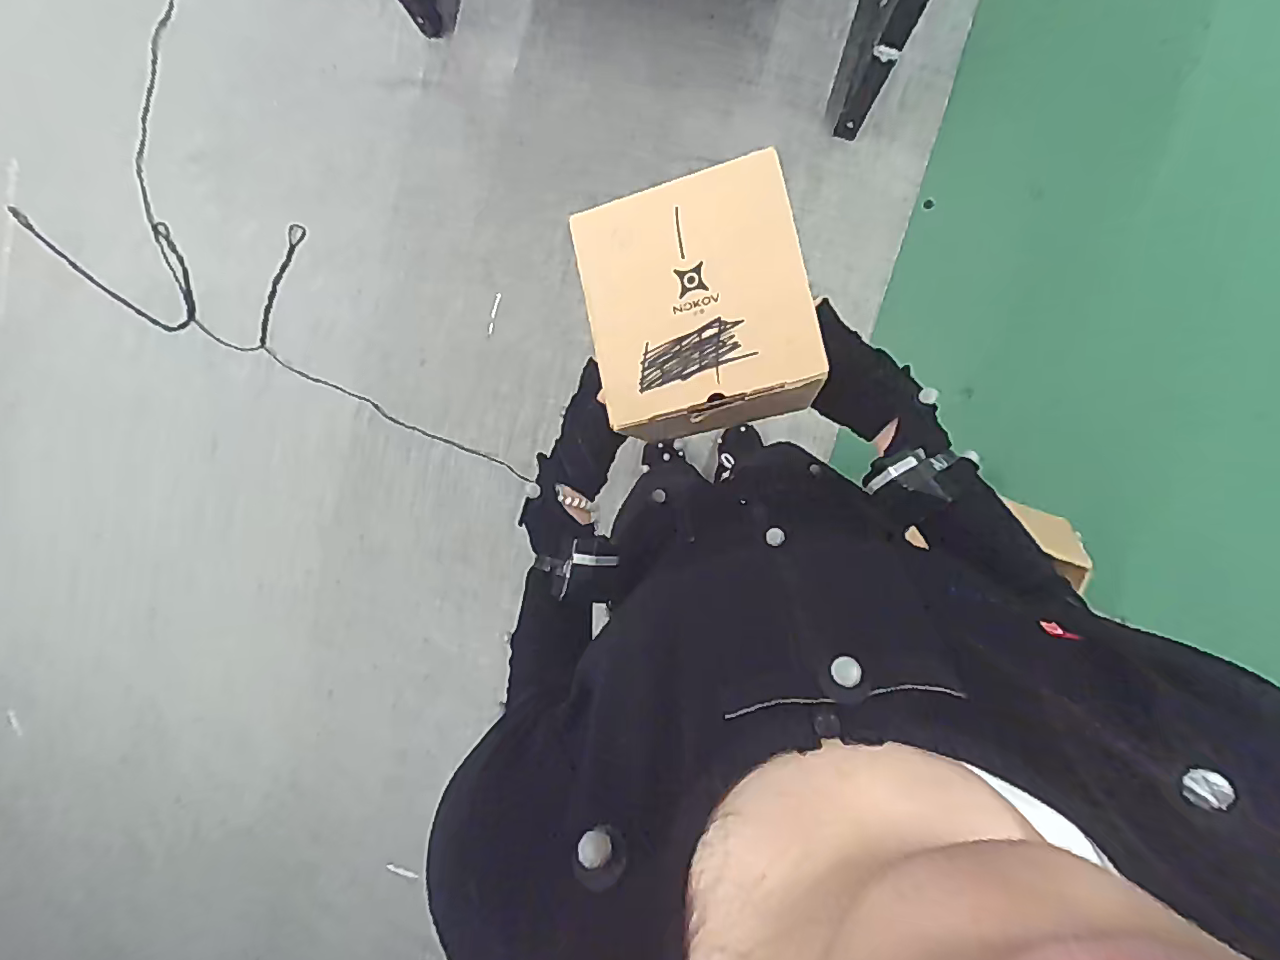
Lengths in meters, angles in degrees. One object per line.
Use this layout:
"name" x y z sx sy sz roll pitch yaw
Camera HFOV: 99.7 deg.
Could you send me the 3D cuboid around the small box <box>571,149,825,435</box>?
"small box" 0.057 -0.141 0.483 0.168 0.176 0.179 -13 87 11
